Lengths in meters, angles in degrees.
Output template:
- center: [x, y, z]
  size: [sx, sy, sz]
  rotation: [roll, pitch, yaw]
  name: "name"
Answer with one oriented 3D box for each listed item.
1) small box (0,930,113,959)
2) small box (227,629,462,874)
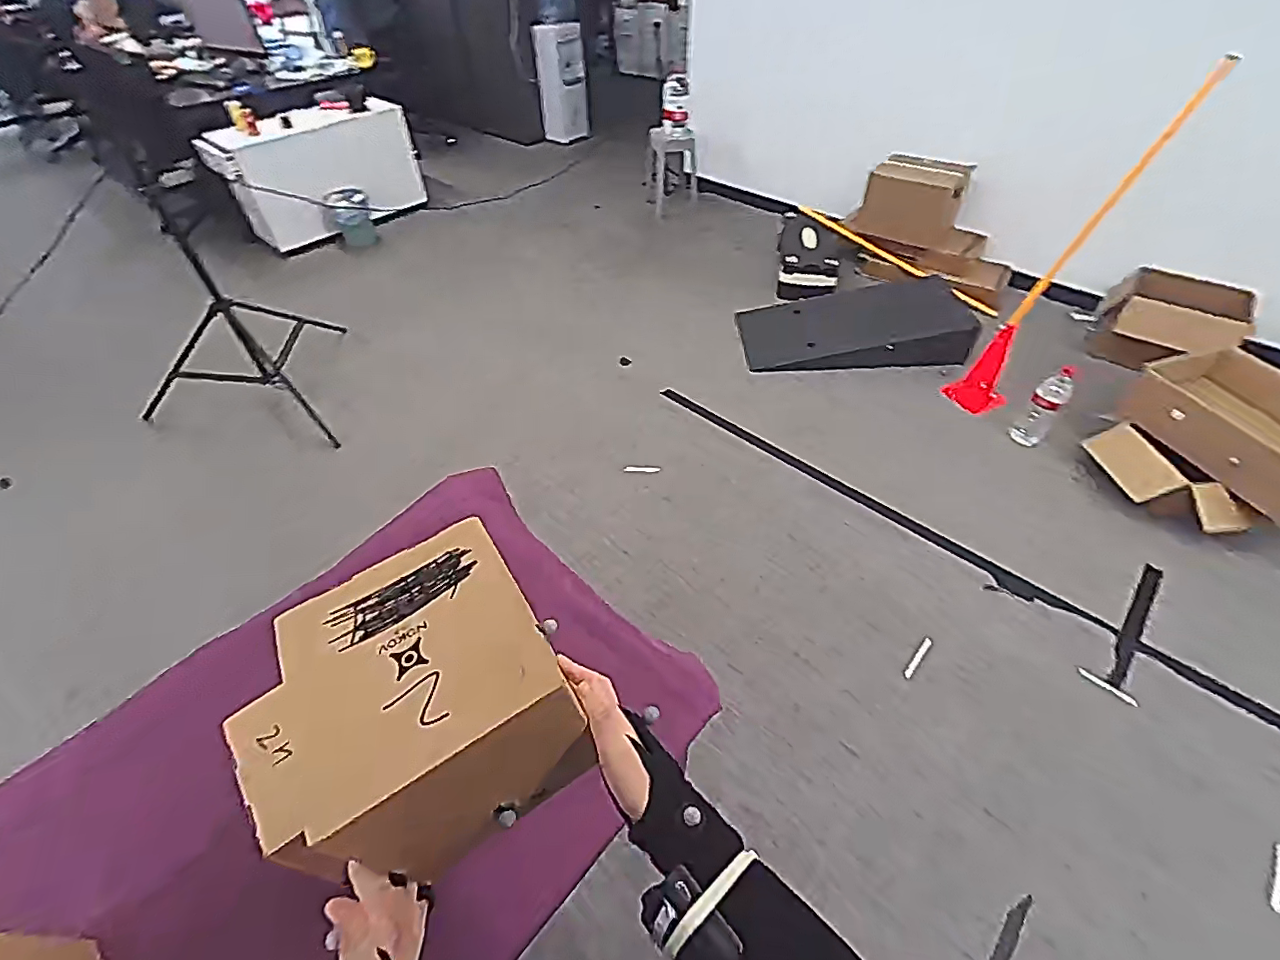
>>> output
- center: [-0.588, 0.536, 0.455]
  size: [0.168, 0.176, 0.179]
  rotation: [32, 54, 27]
  name: "small box"
- center: [-0.332, 0.320, 0.642]
  size: [0.179, 0.176, 0.168]
  rotation: [-33, 54, -25]
  name: "small box"
